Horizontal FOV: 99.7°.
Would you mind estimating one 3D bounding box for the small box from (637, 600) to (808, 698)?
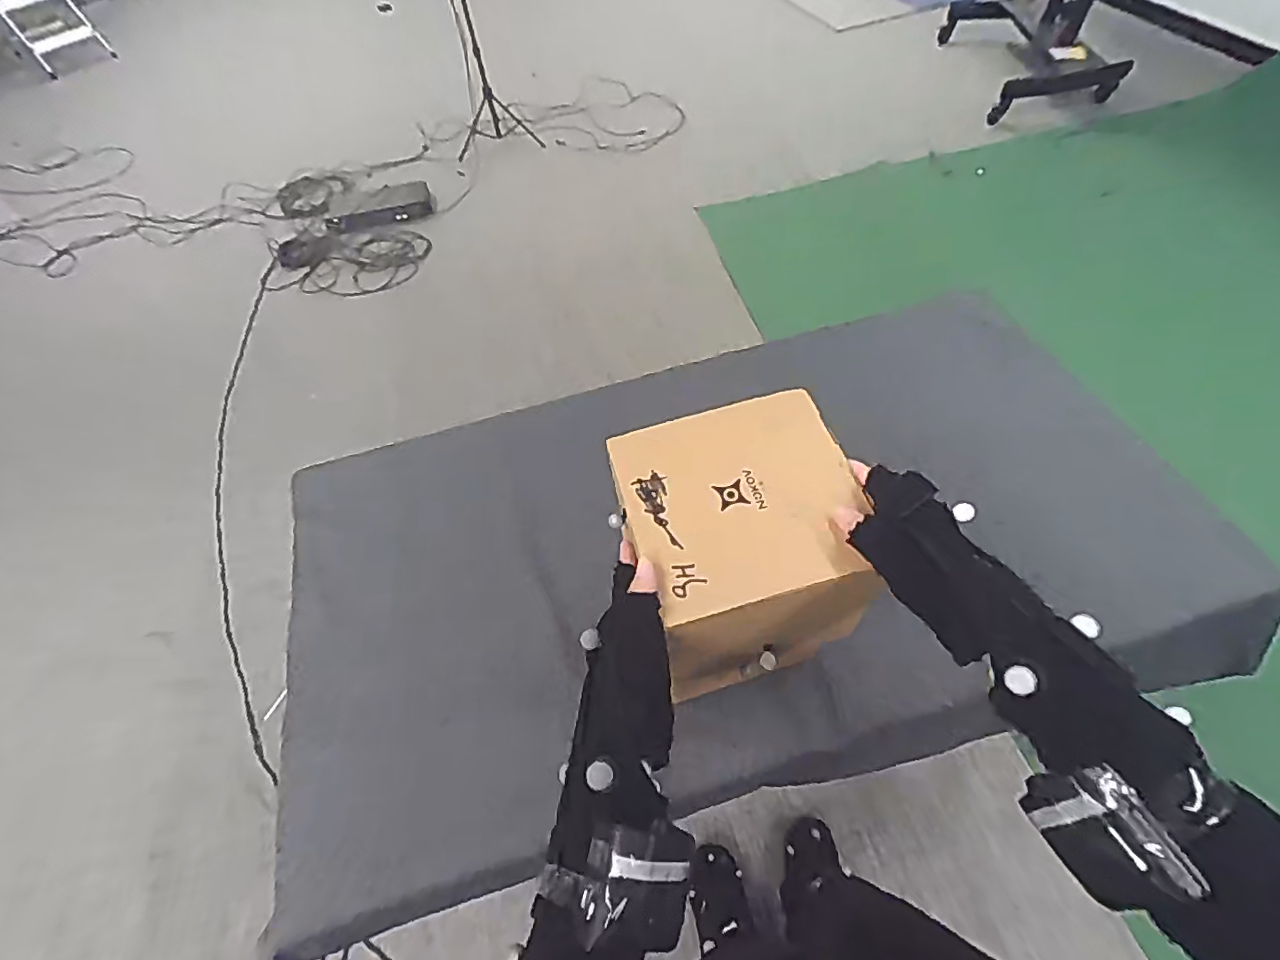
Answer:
[{"bbox_3d":[0.088,0.130,0.620,0.179,0.176,0.168,-16,57,-5],"label":"small box"}]

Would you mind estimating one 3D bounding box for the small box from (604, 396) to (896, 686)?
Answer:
[{"bbox_3d":[0.079,0.060,0.473,0.179,0.176,0.168,-17,57,-6],"label":"small box"}]
